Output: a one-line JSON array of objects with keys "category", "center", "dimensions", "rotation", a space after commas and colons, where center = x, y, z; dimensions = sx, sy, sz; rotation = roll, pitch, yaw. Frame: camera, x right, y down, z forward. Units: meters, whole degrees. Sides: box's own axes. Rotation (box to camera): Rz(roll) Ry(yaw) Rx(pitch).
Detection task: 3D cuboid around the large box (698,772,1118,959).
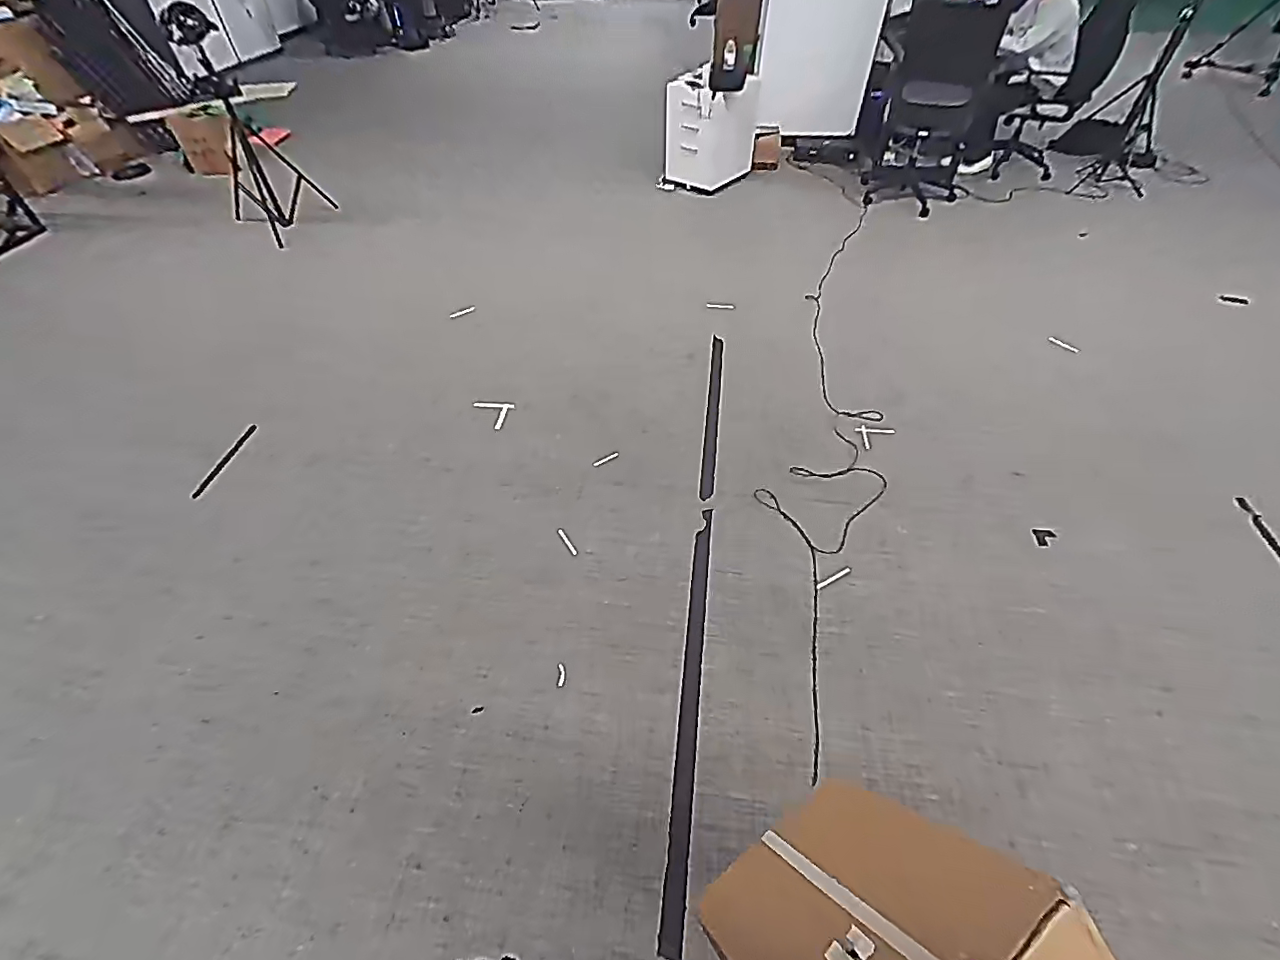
[{"category": "large box", "center": [0.342, 0.656, 0.682], "dimensions": [0.320, 0.408, 0.320], "rotation": [-31, 89, -20]}]
